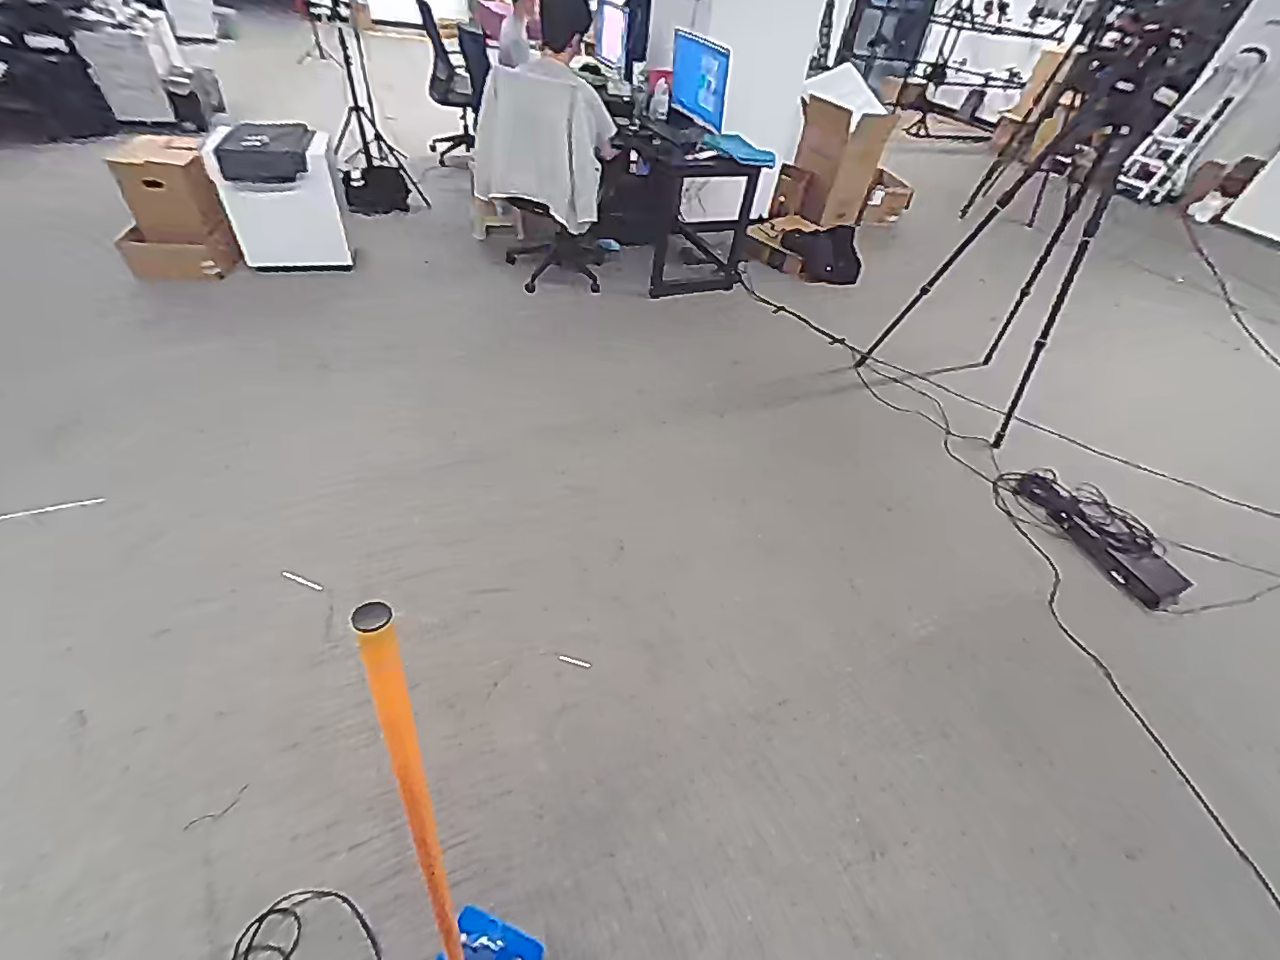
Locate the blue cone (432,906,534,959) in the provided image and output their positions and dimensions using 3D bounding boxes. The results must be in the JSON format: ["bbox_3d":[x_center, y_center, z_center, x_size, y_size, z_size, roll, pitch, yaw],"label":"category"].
[{"bbox_3d":[-0.309,0.875,0.969,0.192,0.380,0.193,20,44,10],"label":"blue cone"}]
